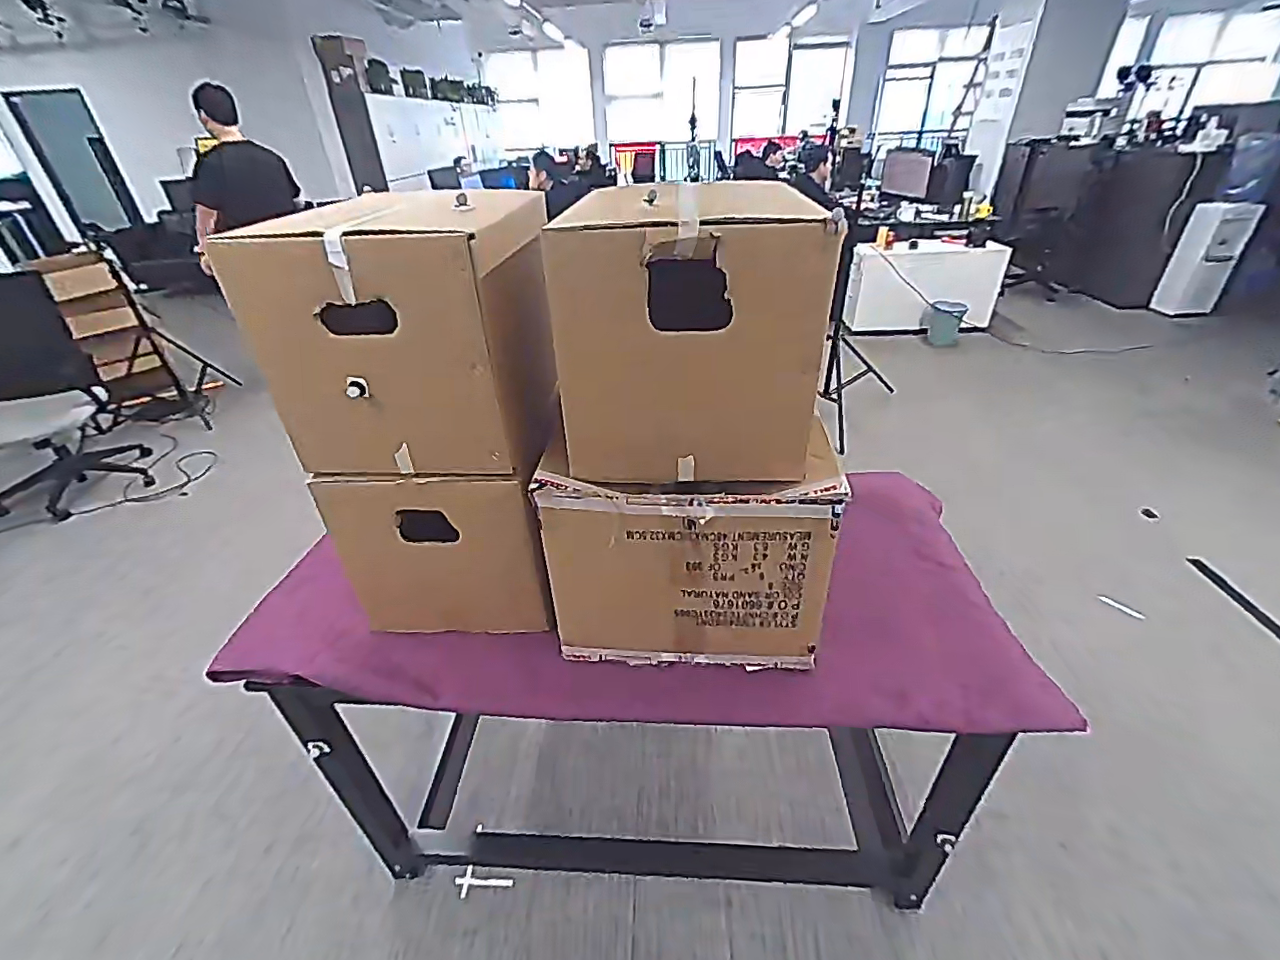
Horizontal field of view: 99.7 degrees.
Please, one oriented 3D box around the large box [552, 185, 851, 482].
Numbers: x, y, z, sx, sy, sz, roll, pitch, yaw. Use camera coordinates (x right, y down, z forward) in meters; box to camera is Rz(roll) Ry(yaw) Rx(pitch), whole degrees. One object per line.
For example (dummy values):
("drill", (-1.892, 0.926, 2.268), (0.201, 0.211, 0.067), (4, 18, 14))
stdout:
("large box", (0.073, -0.236, 0.794), (0.320, 0.320, 0.408), (-1, 34, 4))
